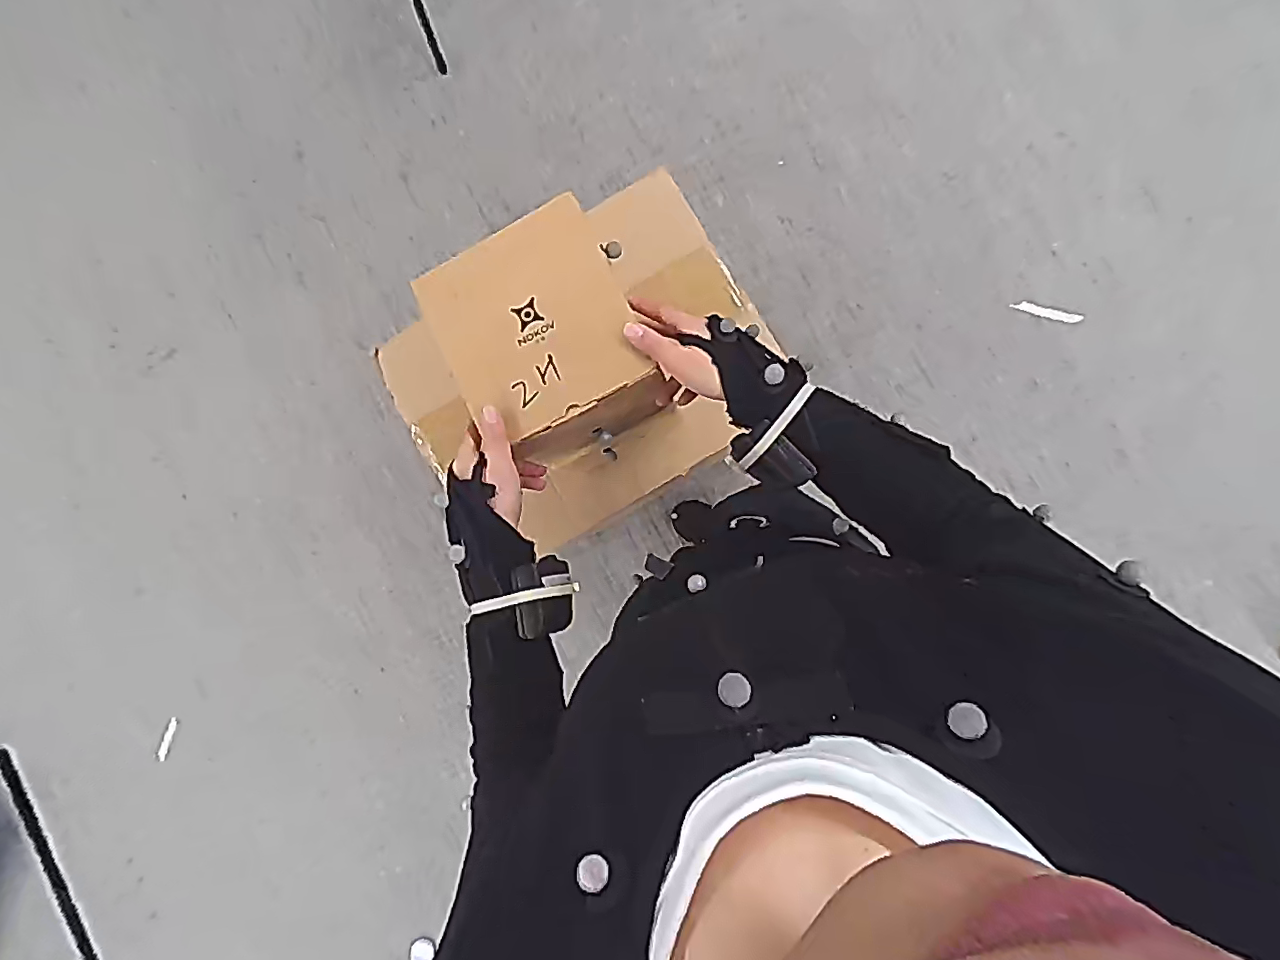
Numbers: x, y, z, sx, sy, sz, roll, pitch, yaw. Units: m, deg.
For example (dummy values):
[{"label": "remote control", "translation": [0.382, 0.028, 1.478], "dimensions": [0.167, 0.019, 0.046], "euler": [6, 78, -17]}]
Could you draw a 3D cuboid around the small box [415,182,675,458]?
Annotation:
[{"label": "small box", "translation": [-0.077, -0.135, 0.529], "dimensions": [0.168, 0.176, 0.179], "euler": [-26, 85, 7]}]

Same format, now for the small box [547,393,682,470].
[{"label": "small box", "translation": [-0.056, -0.125, 0.694], "dimensions": [0.168, 0.176, 0.179], "euler": [-29, 86, 6]}]
